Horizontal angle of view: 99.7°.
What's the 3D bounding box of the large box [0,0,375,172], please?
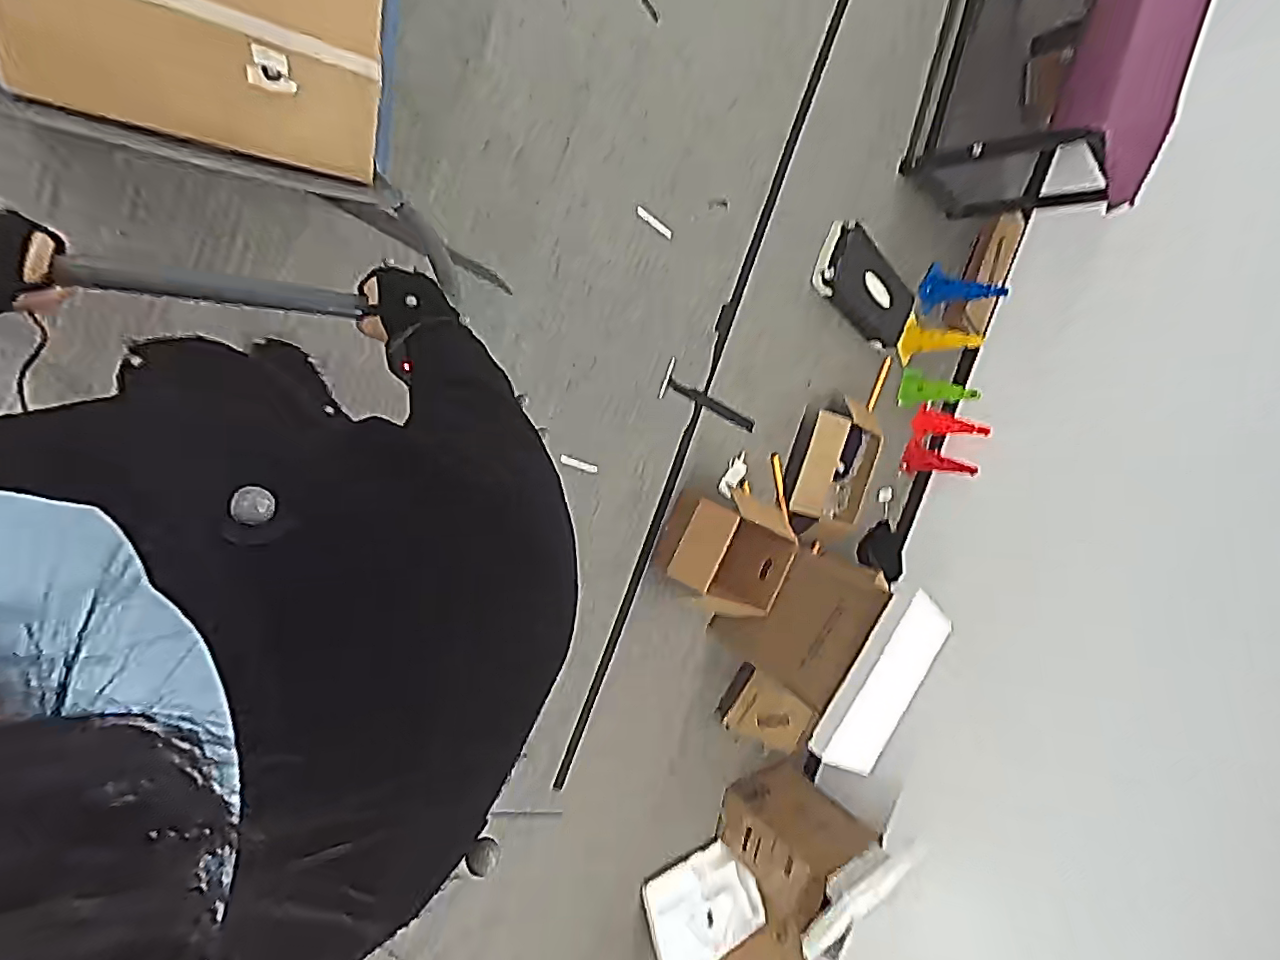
[{"bbox_3d":[-0.645,-0.696,0.787,0.408,0.320,0.320,-4,126,-39],"label":"large box"}]
